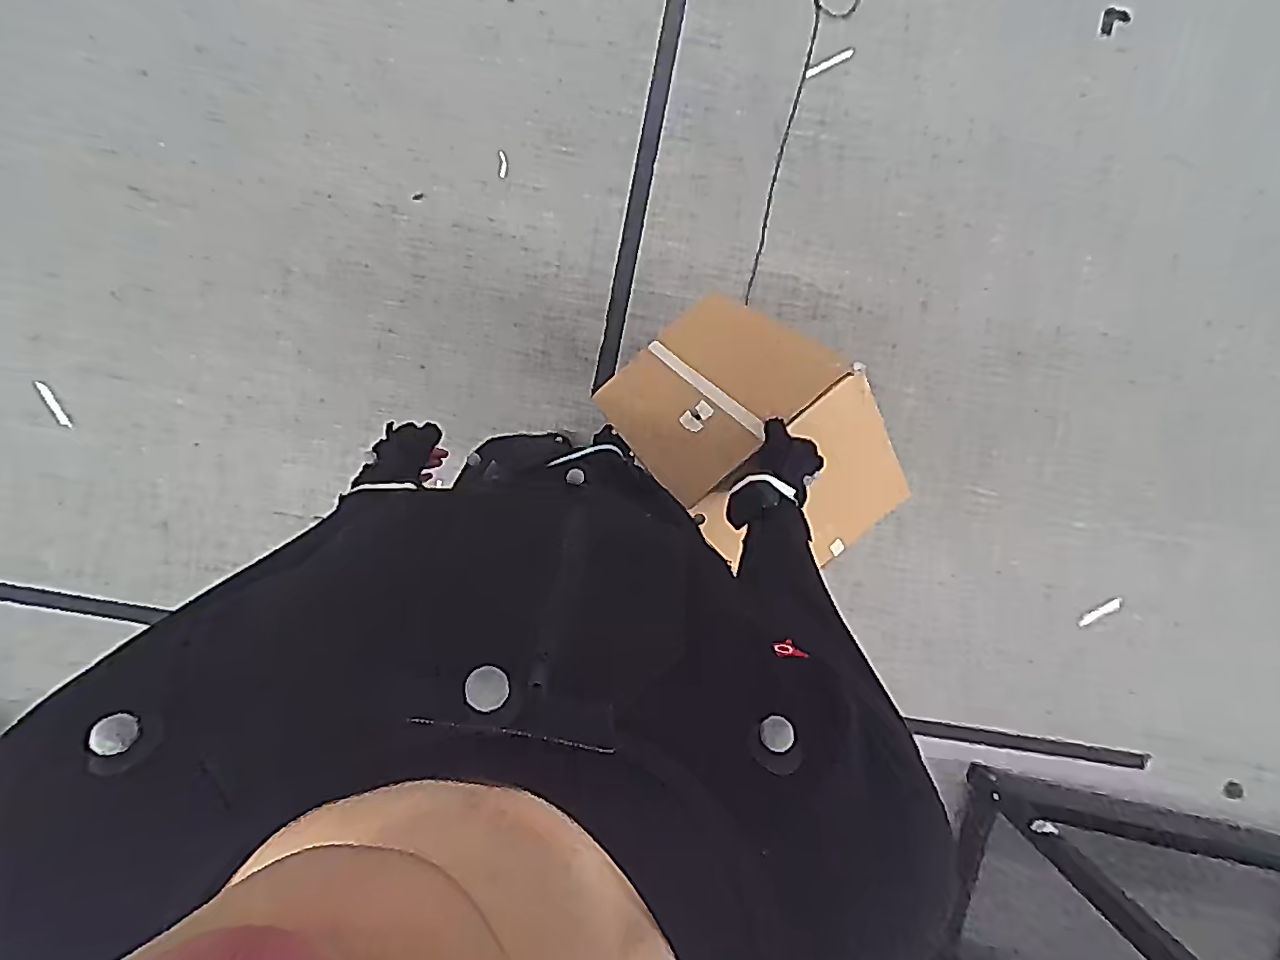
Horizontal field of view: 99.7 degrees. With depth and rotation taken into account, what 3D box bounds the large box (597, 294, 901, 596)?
[{"bbox_3d":[0.184,-0.074,0.983,0.320,0.408,0.320,-41,131,4],"label":"large box"}]
